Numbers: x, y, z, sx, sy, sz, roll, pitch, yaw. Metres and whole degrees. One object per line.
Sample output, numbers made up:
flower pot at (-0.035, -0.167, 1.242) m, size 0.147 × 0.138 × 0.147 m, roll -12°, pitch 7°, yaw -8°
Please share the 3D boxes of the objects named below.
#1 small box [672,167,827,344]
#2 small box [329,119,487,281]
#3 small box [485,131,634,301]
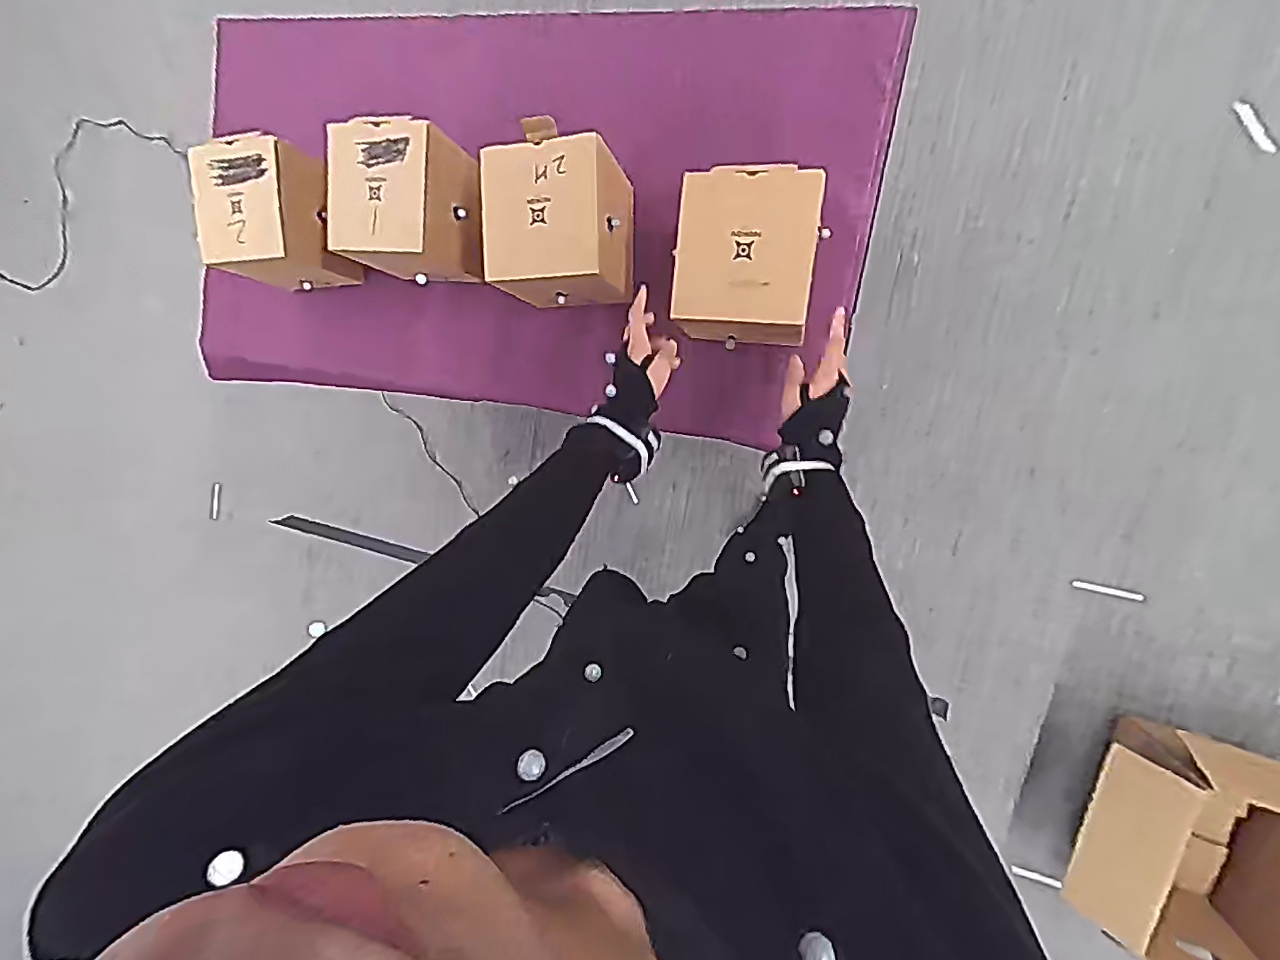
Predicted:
small box at (0.147, -0.290, 0.724) m, size 0.168 × 0.176 × 0.179 m, roll 8°, pitch 97°, yaw 15°
small box at (-0.348, -0.424, 0.841) m, size 0.168 × 0.176 × 0.179 m, roll 8°, pitch 98°, yaw 14°
small box at (-0.107, -0.364, 0.784) m, size 0.168 × 0.176 × 0.179 m, roll 2°, pitch 96°, yaw 14°
